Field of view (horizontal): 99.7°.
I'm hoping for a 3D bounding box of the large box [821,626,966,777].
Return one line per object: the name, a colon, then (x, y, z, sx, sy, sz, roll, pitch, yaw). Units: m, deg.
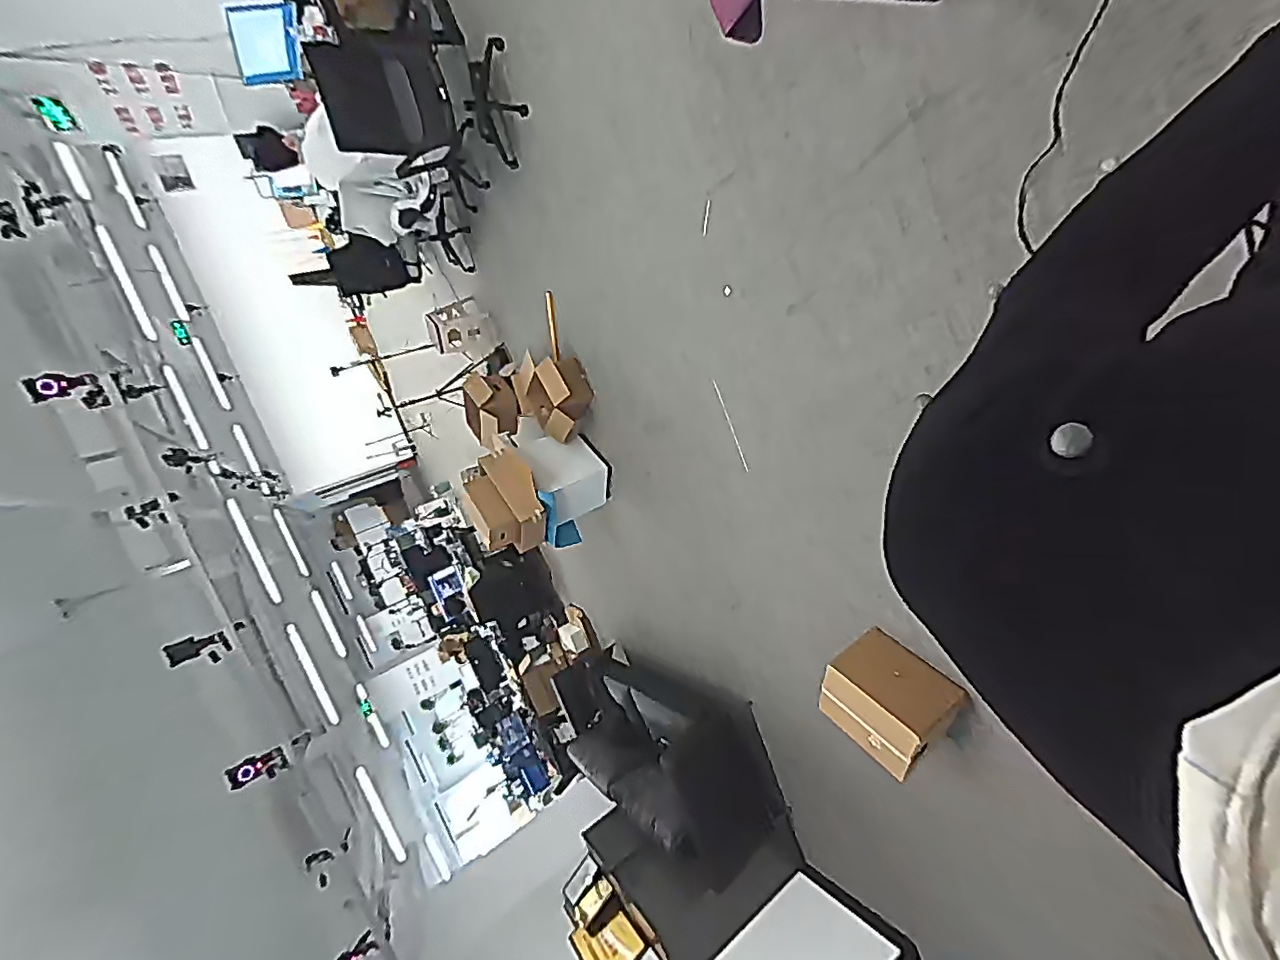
large box: (1.011, 0.880, 2.194, 0.408, 0.320, 0.320, 35, 141, 43)
